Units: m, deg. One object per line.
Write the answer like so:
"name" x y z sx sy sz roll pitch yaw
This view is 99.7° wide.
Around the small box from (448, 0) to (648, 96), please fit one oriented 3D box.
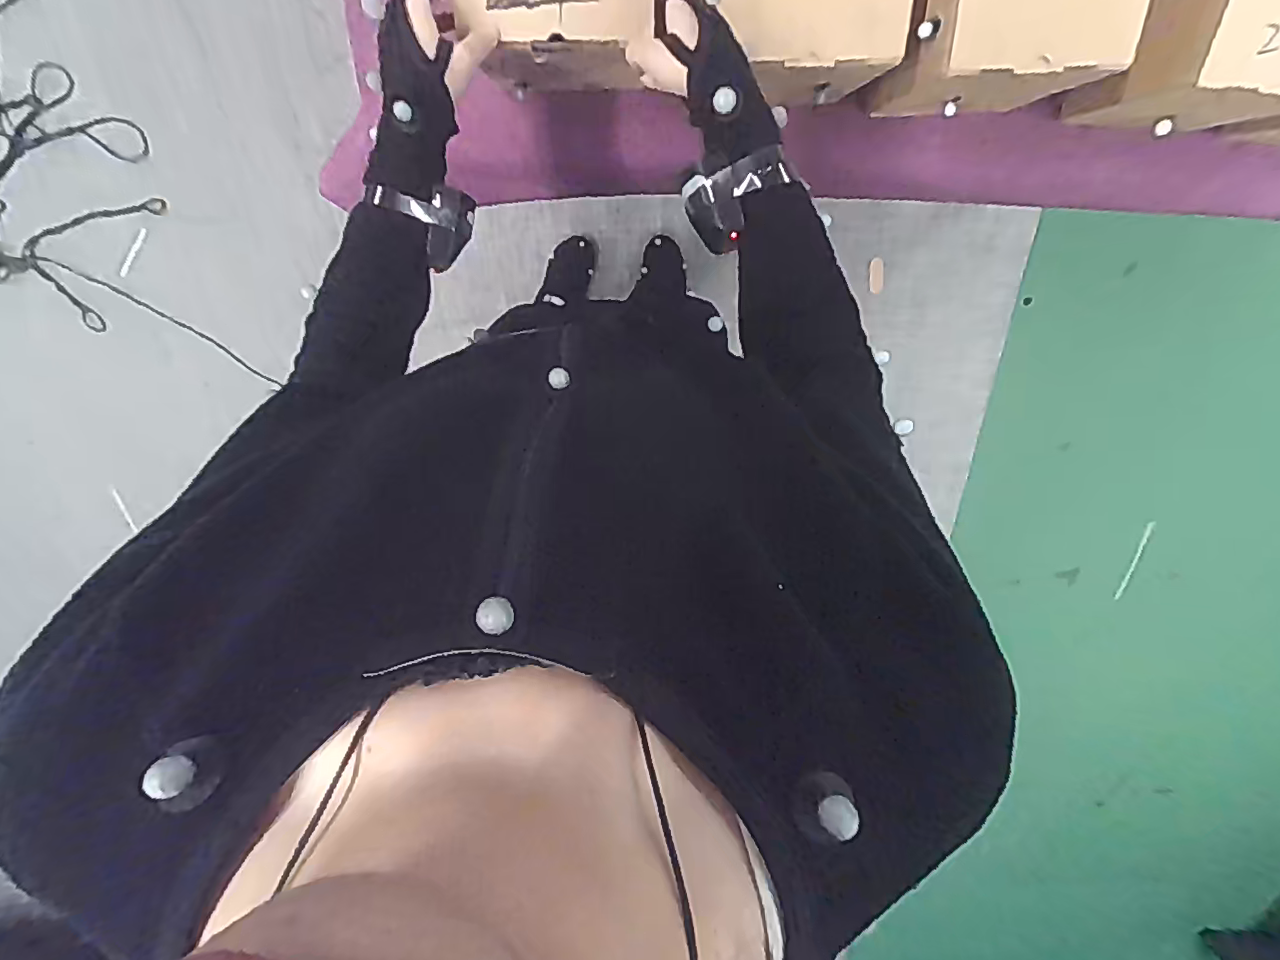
"small box" -0.075 -0.464 0.486 0.168 0.176 0.179 -2 115 -2
